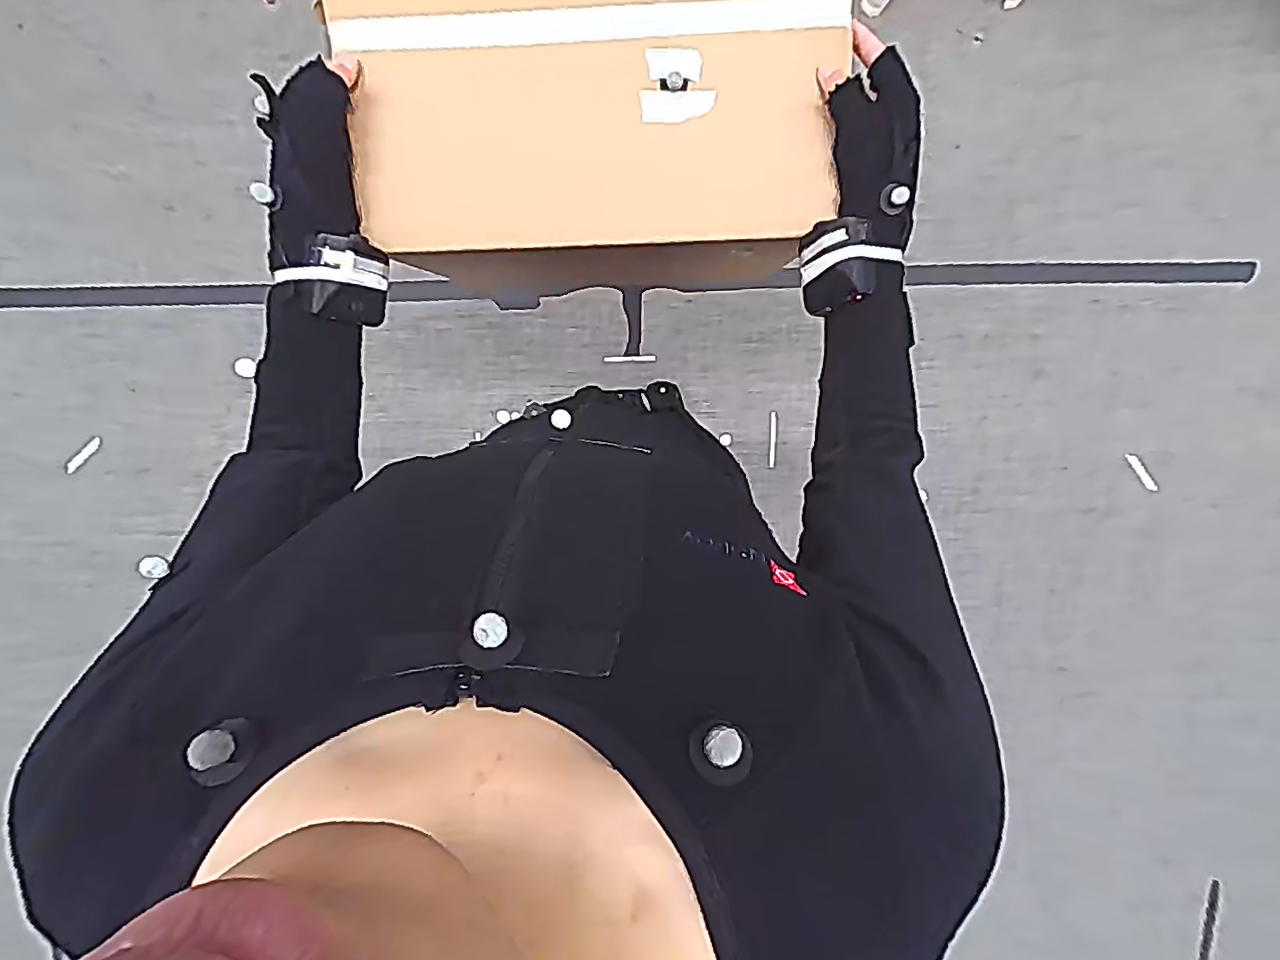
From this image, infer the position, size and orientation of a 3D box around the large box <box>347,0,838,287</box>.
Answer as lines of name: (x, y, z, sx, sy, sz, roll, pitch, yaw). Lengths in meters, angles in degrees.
large box: (-0.039, -0.396, 0.585, 0.408, 0.320, 0.320, -2, 105, 0)
